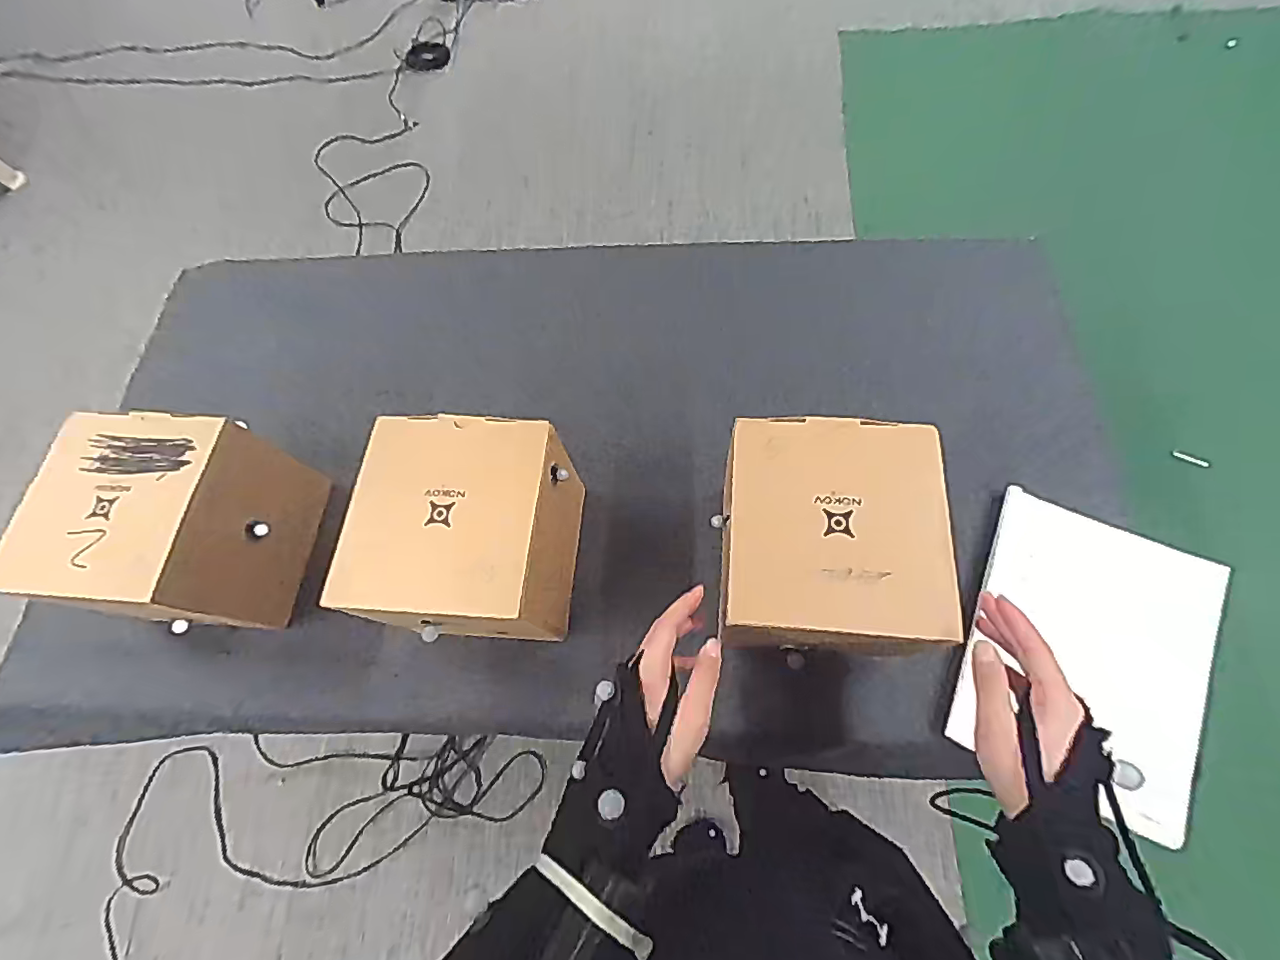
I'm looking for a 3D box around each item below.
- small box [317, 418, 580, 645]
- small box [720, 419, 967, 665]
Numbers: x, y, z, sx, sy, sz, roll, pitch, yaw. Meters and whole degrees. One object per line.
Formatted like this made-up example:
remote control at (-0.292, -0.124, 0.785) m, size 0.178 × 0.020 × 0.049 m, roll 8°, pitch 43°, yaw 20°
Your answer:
small box at (-0.160, 0.057, 0.518) m, size 0.168 × 0.176 × 0.179 m, roll 2°, pitch 67°, yaw 7°
small box at (0.160, 0.063, 0.486) m, size 0.168 × 0.176 × 0.179 m, roll 2°, pitch 68°, yaw 8°
